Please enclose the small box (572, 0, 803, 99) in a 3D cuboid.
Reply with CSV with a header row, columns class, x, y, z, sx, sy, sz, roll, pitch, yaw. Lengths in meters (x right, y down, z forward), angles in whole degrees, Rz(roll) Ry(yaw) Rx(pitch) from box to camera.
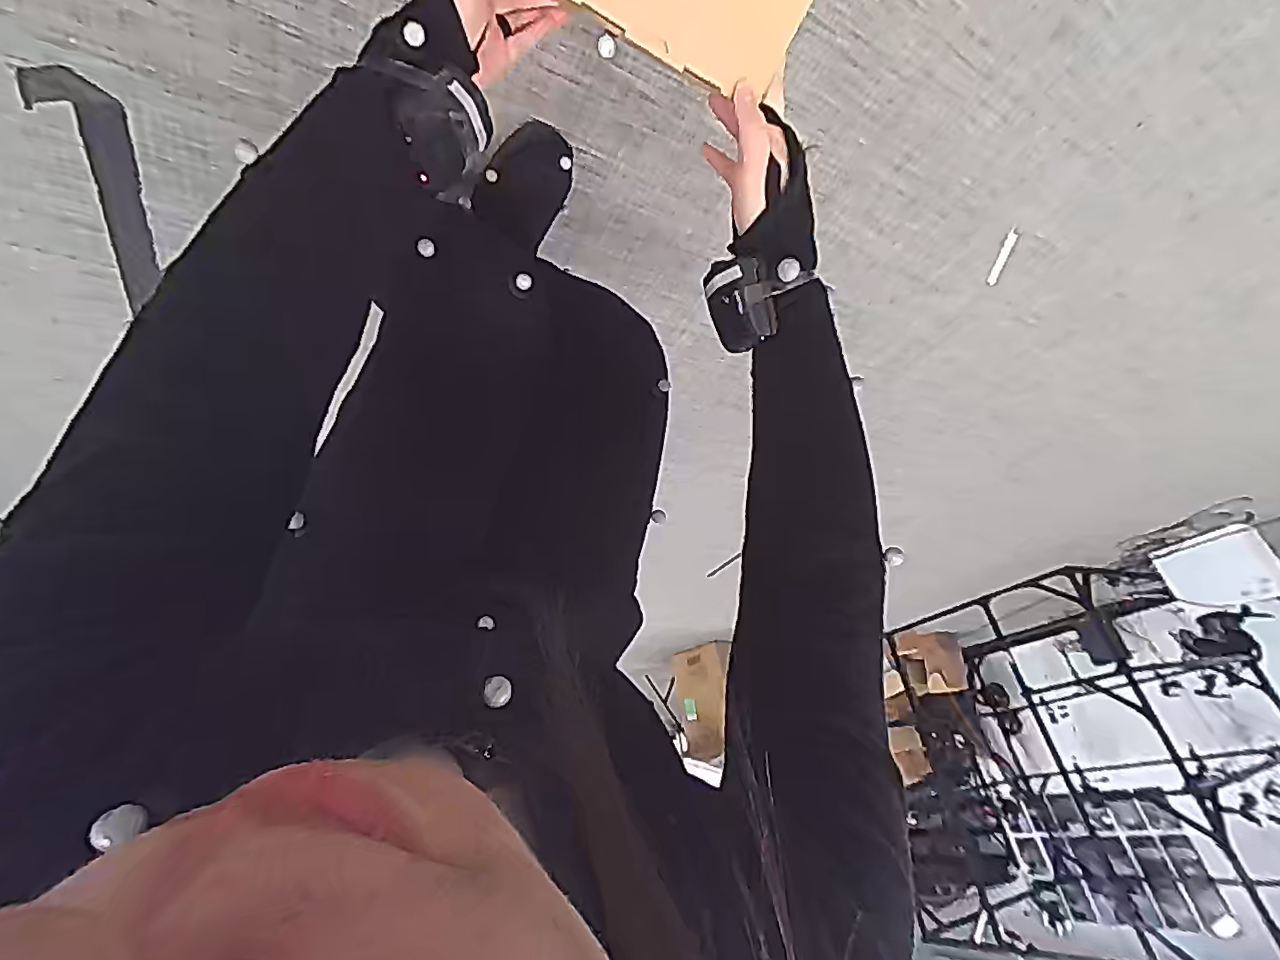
class,x,y,z,sx,sy,sz,roll,pitch,yaw
small box,0.023,-0.388,0.338,0.168,0.176,0.179,10,129,-29
